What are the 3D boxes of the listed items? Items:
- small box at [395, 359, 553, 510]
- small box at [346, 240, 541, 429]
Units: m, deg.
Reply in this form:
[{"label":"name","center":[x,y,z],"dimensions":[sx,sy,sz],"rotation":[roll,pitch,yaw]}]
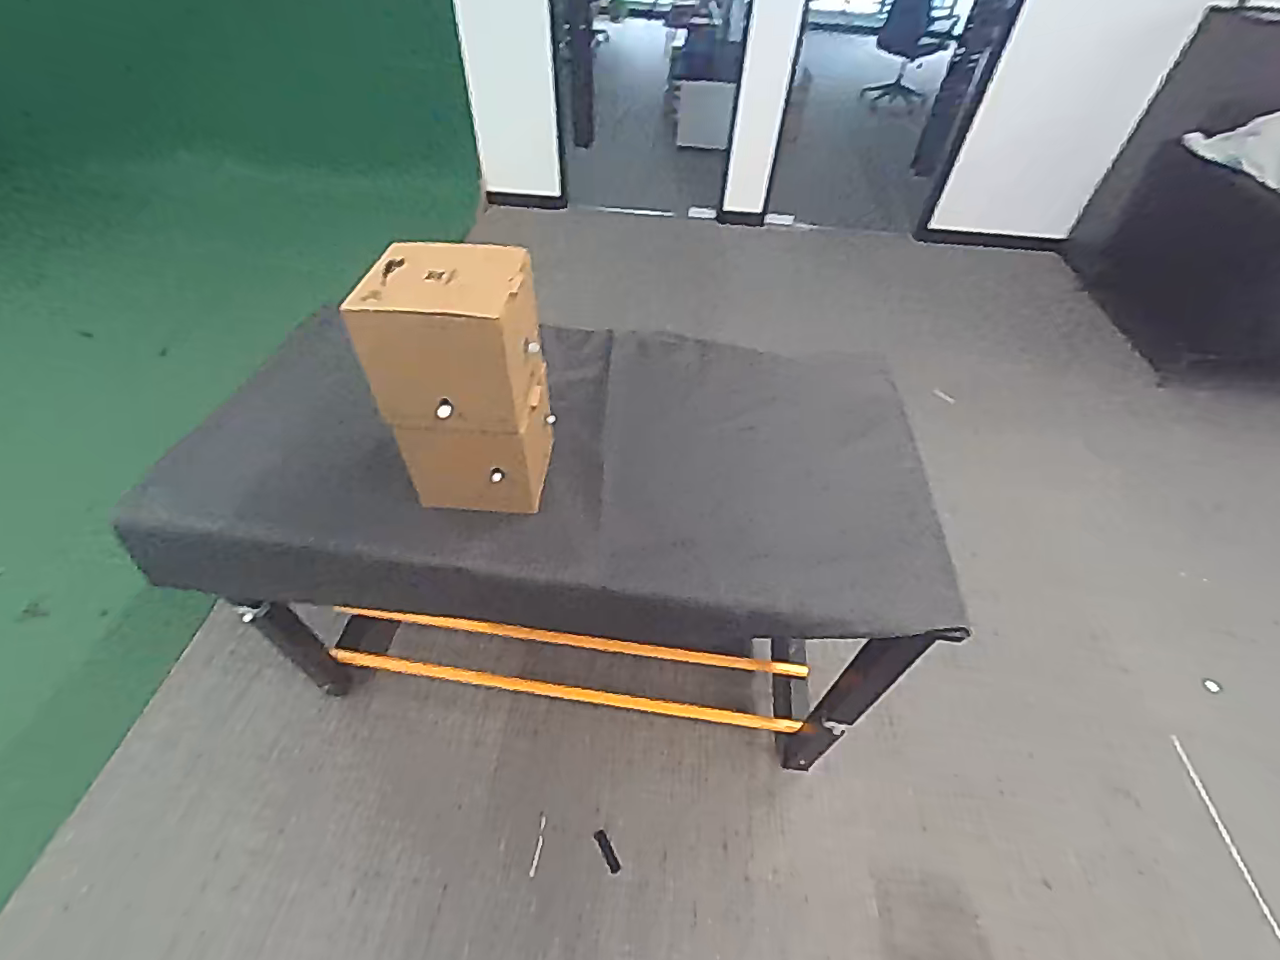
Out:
[{"label":"small box","center":[-0.231,-0.071,0.812],"dimensions":[0.179,0.176,0.168],"rotation":[3,47,1]},{"label":"small box","center":[-0.228,-0.182,0.691],"dimensions":[0.179,0.176,0.168],"rotation":[4,47,0]}]
